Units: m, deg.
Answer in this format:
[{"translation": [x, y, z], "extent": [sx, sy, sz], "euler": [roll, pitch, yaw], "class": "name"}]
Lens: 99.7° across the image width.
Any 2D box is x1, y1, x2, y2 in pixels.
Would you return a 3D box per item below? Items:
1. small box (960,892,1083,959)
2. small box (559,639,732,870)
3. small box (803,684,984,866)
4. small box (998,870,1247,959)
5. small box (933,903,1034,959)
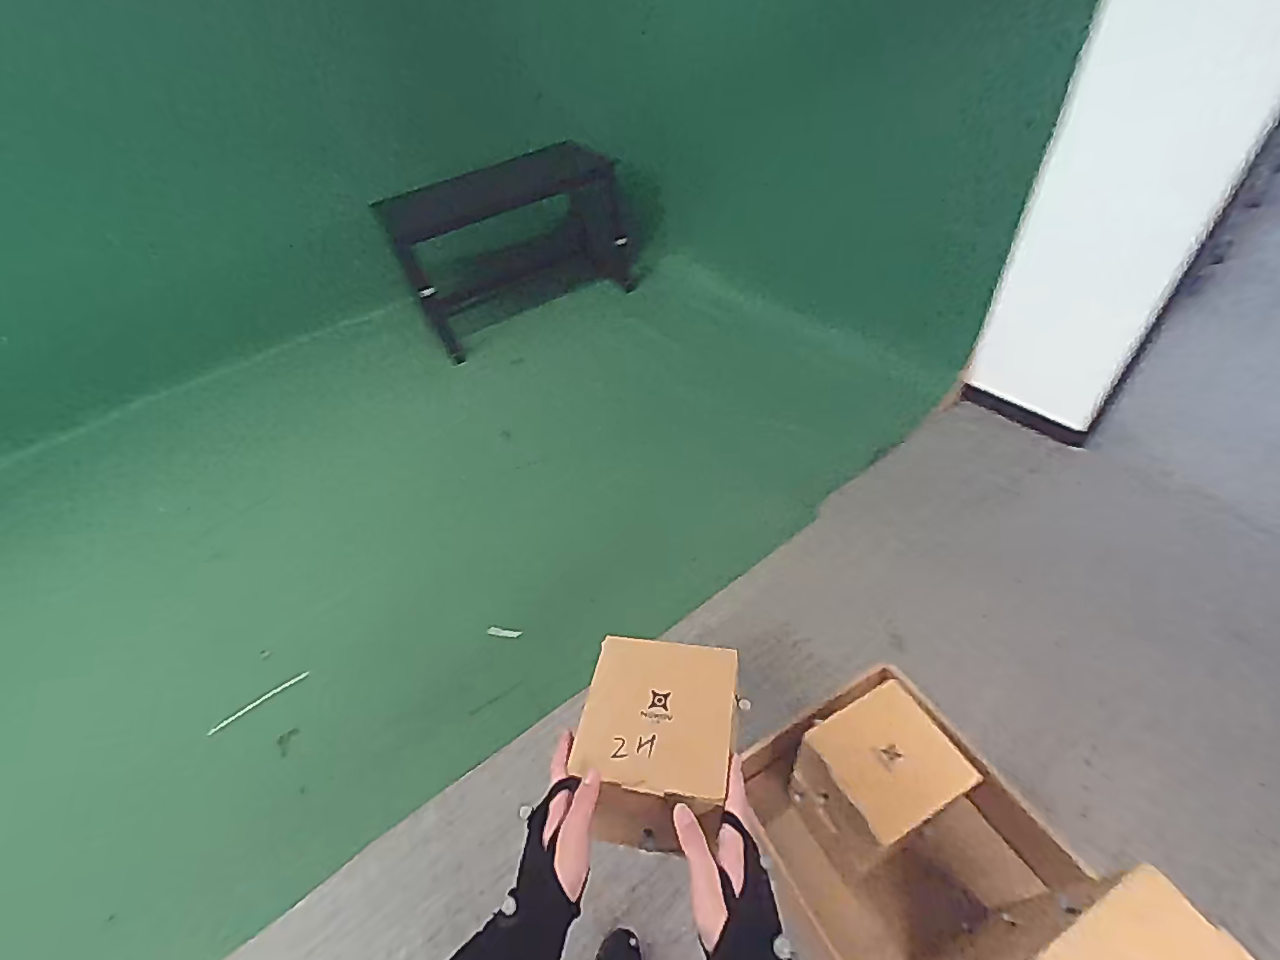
[{"translation": [0.502, 0.632, 0.638], "extent": [0.179, 0.176, 0.168], "euler": [-26, 47, -12], "class": "small box"}, {"translation": [0.020, 0.320, 0.644], "extent": [0.168, 0.176, 0.179], "euler": [2, 37, 14], "class": "small box"}, {"translation": [0.372, 0.454, 0.833], "extent": [0.179, 0.176, 0.168], "euler": [-25, 48, -13], "class": "small box"}, {"translation": [0.480, 0.521, 0.519], "extent": [0.179, 0.176, 0.168], "euler": [-25, 46, -13], "class": "small box"}, {"translation": [0.528, 0.741, 0.756], "extent": [0.179, 0.176, 0.168], "euler": [-24, 47, -13], "class": "small box"}]
